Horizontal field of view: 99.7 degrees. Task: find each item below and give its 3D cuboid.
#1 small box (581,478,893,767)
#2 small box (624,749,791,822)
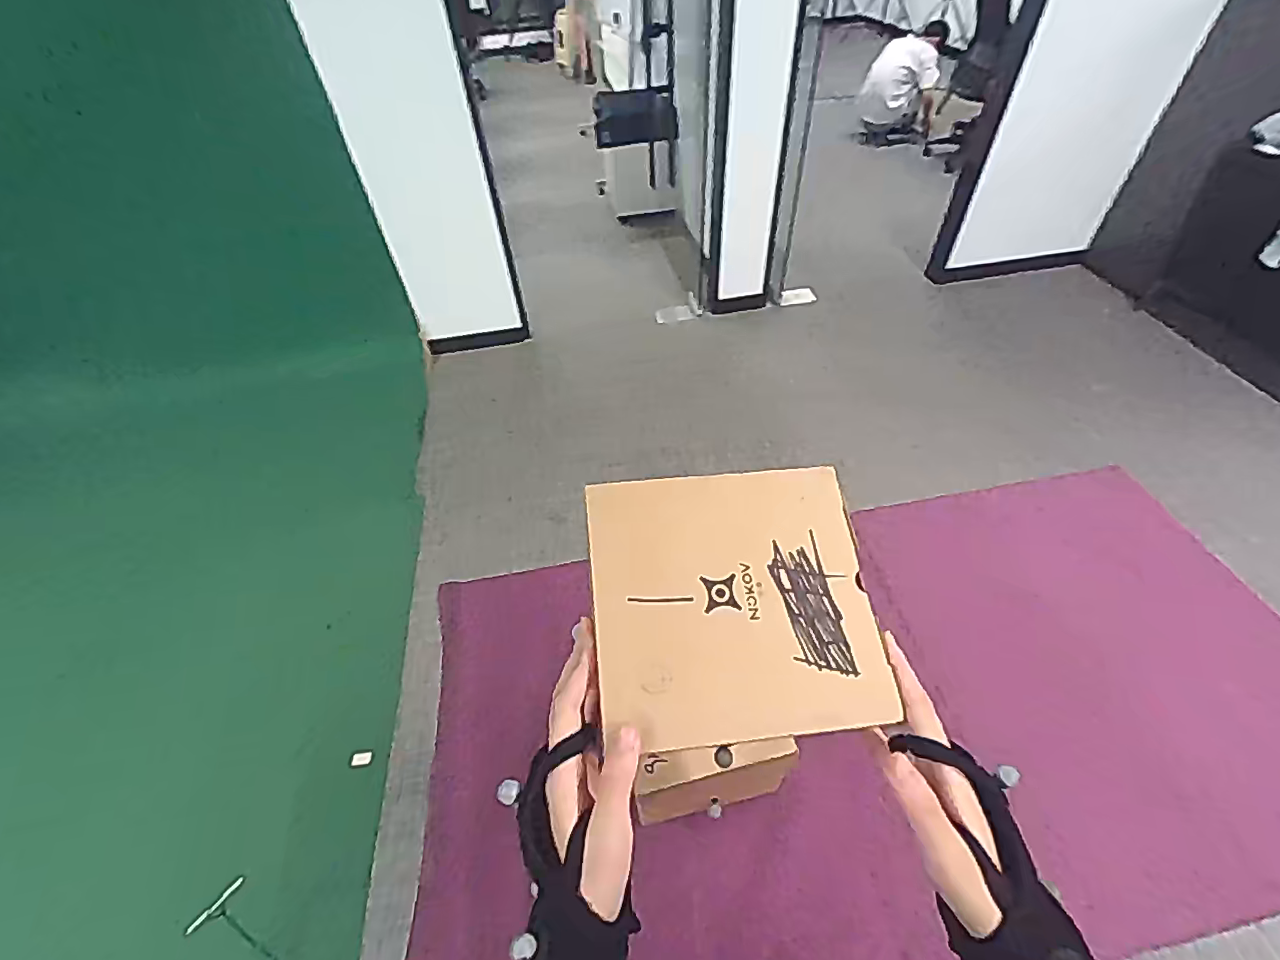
[{"bbox_3d":[0.049,0.110,0.406,0.179,0.176,0.168,-4,65,-4],"label":"small box"},{"bbox_3d":[0.060,0.296,0.663,0.179,0.176,0.168,-11,49,-6],"label":"small box"}]
